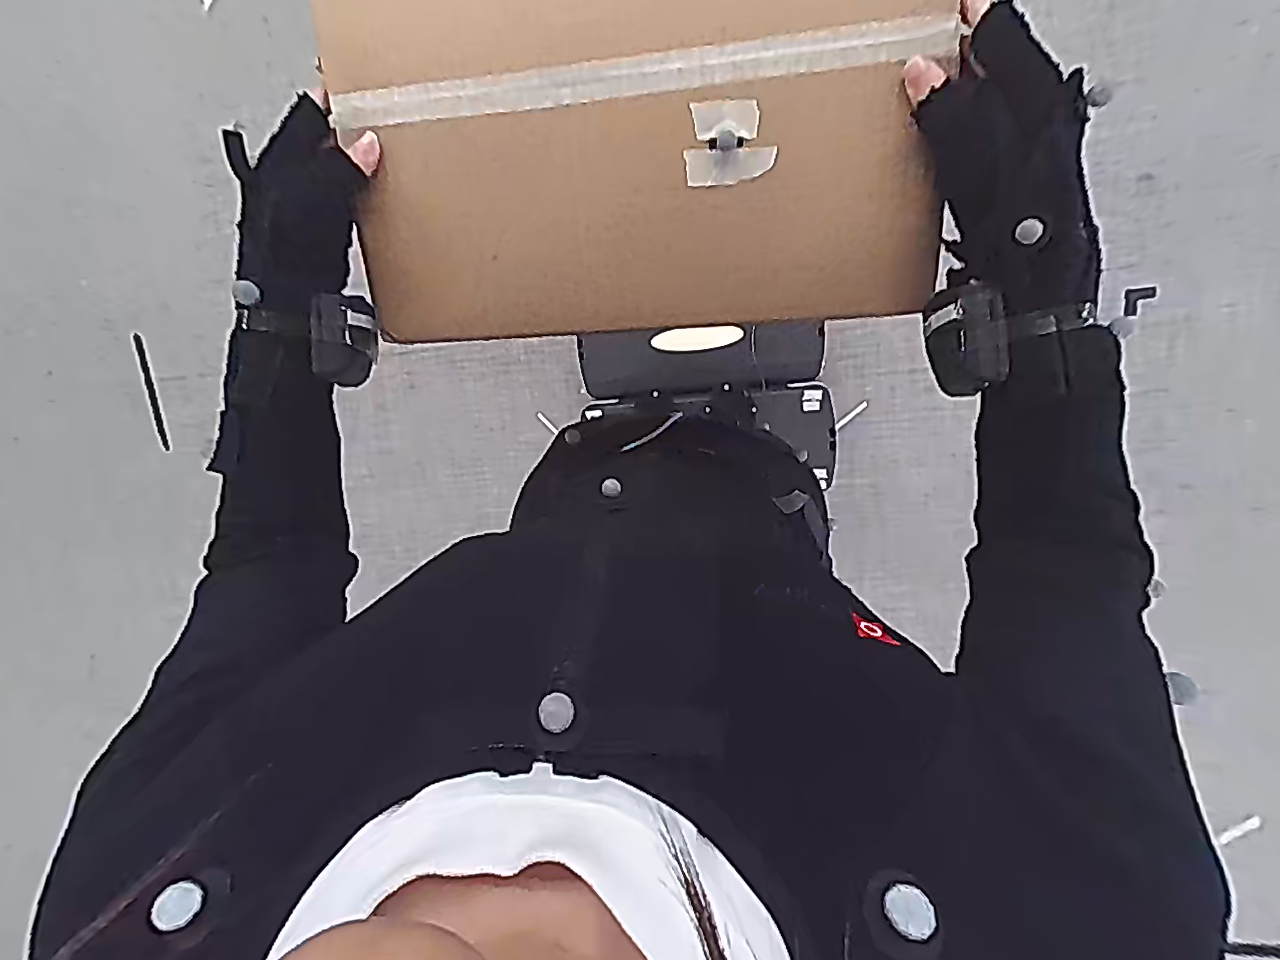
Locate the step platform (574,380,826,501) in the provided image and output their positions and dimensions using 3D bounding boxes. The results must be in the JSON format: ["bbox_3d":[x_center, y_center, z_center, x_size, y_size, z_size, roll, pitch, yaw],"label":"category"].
[{"bbox_3d":[0.161,-0.107,1.510,0.684,0.204,0.286,-4,100,11],"label":"step platform"}]

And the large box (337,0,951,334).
[{"bbox_3d":[0.011,-0.315,0.500,0.408,0.320,0.320,-1,109,8],"label":"large box"}]
